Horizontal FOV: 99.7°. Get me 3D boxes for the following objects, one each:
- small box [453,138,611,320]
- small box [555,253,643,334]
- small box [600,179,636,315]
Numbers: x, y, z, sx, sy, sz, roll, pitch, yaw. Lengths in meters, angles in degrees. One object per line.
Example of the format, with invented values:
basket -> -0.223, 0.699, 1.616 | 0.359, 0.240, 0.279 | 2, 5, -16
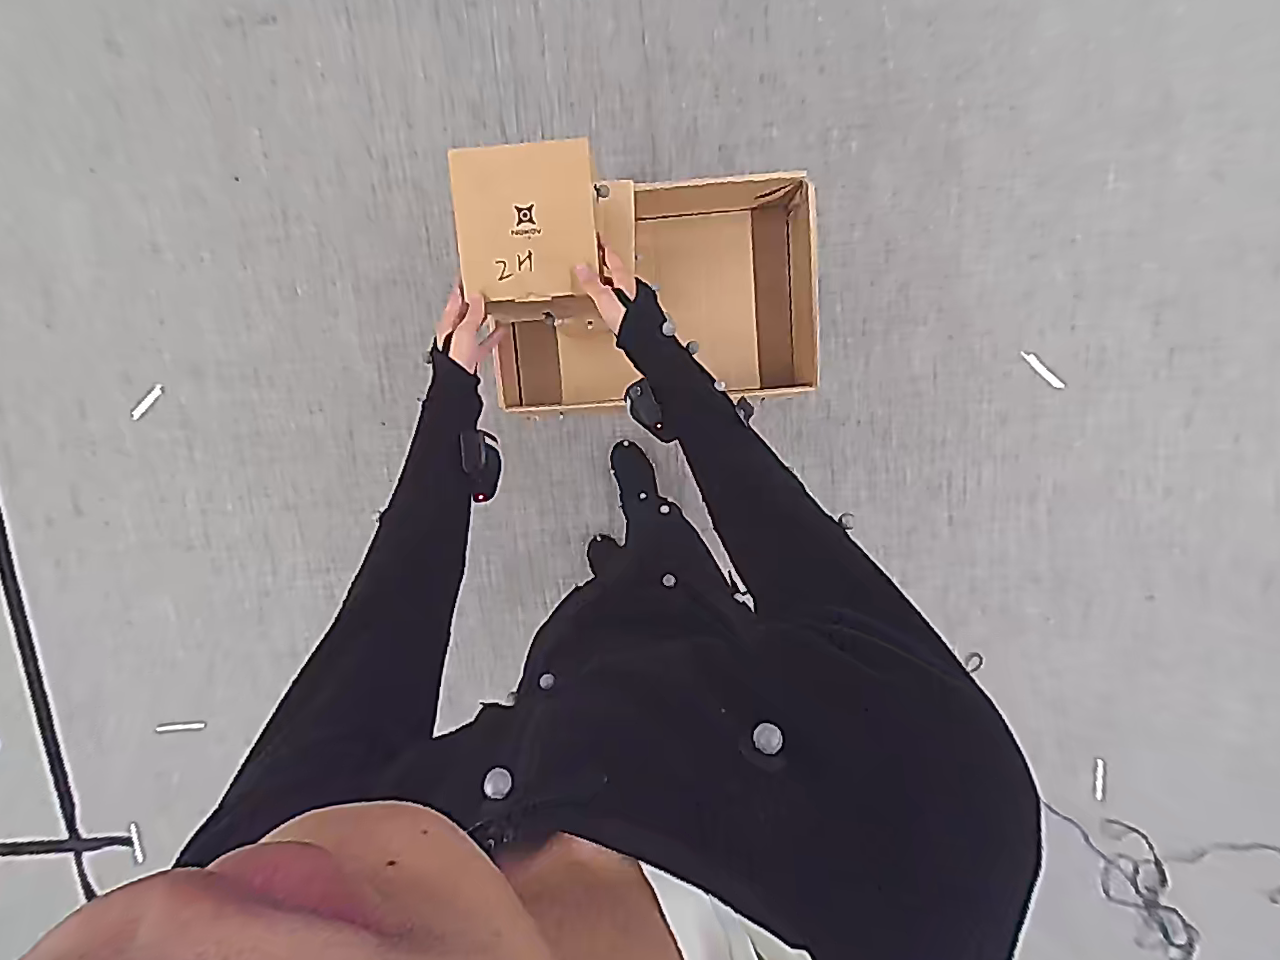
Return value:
small box -> -0.129, -0.315, 0.711 | 0.168, 0.176, 0.179 | -4, 101, 1
small box -> -0.087, -0.395, 1.059 | 0.168, 0.176, 0.179 | -7, 97, 0
small box -> -0.089, -0.374, 0.895 | 0.168, 0.176, 0.179 | -1, 97, -1
